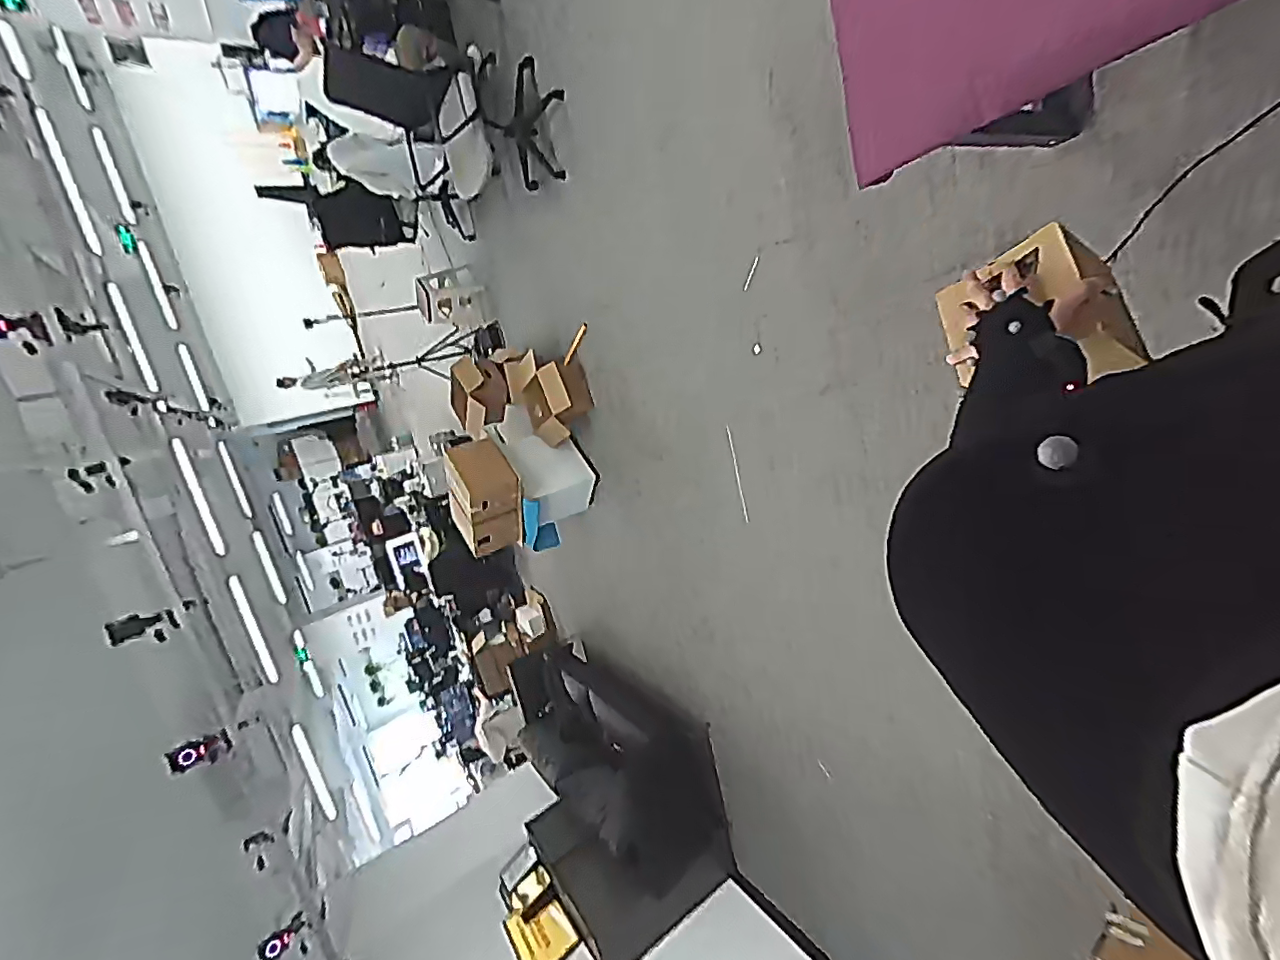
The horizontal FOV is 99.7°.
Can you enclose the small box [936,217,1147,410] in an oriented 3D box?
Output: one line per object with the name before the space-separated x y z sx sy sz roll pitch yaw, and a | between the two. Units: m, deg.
small box | 0.562 -0.222 0.767 0.168 0.176 0.179 -32 54 52
